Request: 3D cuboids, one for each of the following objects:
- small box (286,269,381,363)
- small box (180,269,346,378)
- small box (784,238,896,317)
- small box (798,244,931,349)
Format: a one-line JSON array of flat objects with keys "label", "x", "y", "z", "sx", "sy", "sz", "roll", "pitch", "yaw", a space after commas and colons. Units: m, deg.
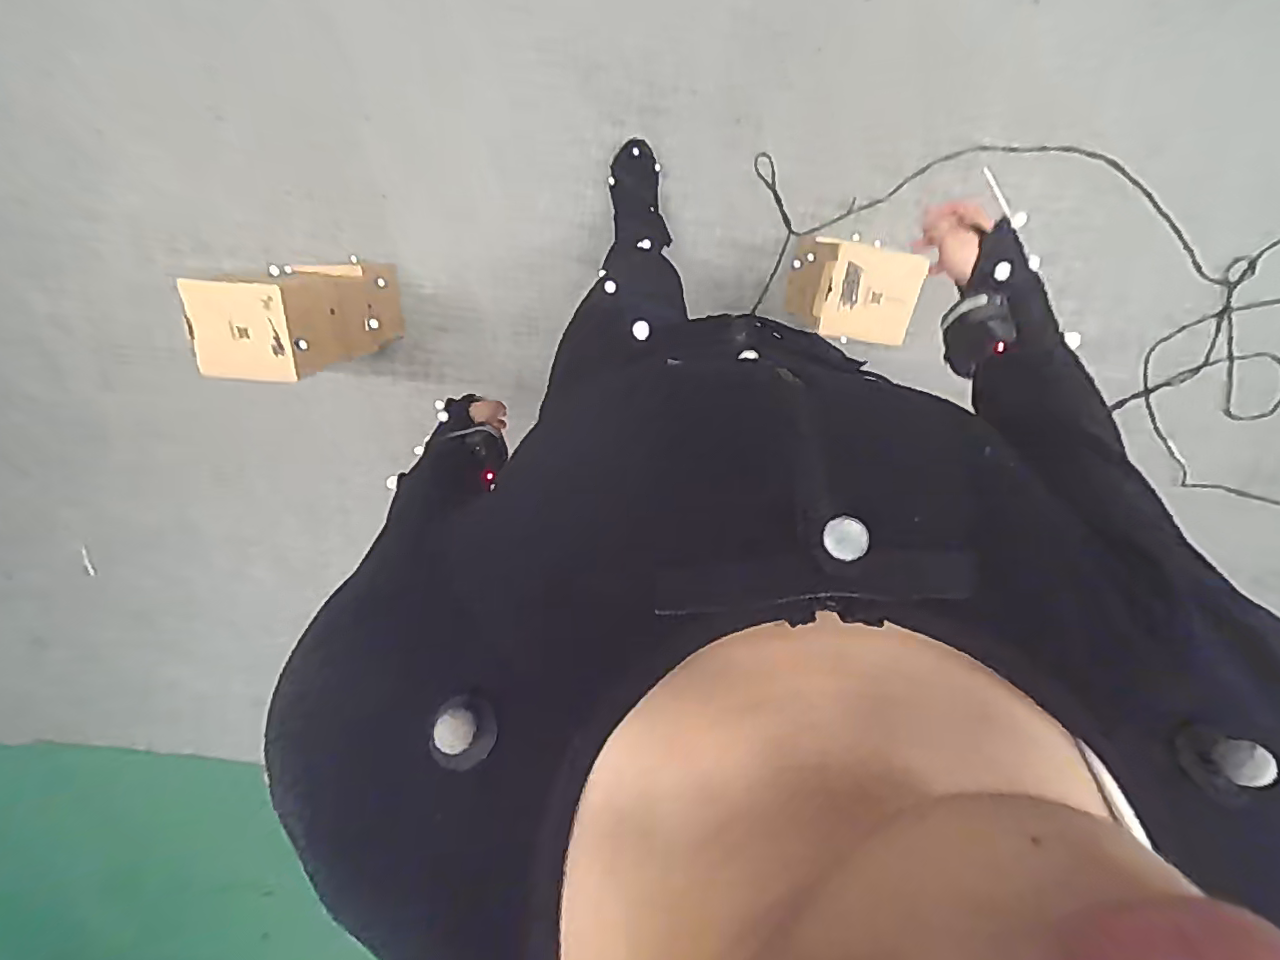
[{"label": "small box", "x": -0.683, "y": -0.354, "z": 1.153, "sx": 0.179, "sy": 0.176, "sz": 0.168, "roll": 5, "pitch": 114, "yaw": -1}, {"label": "small box", "x": -0.682, "y": -0.295, "z": 0.999, "sx": 0.179, "sy": 0.176, "sz": 0.168, "roll": 6, "pitch": 114, "yaw": 0}, {"label": "small box", "x": 0.444, "y": -0.450, "z": 1.238, "sx": 0.179, "sy": 0.176, "sz": 0.168, "roll": 8, "pitch": 114, "yaw": -2}, {"label": "small box", "x": 0.439, "y": -0.374, "z": 1.092, "sx": 0.179, "sy": 0.176, "sz": 0.168, "roll": 8, "pitch": 114, "yaw": -3}]
